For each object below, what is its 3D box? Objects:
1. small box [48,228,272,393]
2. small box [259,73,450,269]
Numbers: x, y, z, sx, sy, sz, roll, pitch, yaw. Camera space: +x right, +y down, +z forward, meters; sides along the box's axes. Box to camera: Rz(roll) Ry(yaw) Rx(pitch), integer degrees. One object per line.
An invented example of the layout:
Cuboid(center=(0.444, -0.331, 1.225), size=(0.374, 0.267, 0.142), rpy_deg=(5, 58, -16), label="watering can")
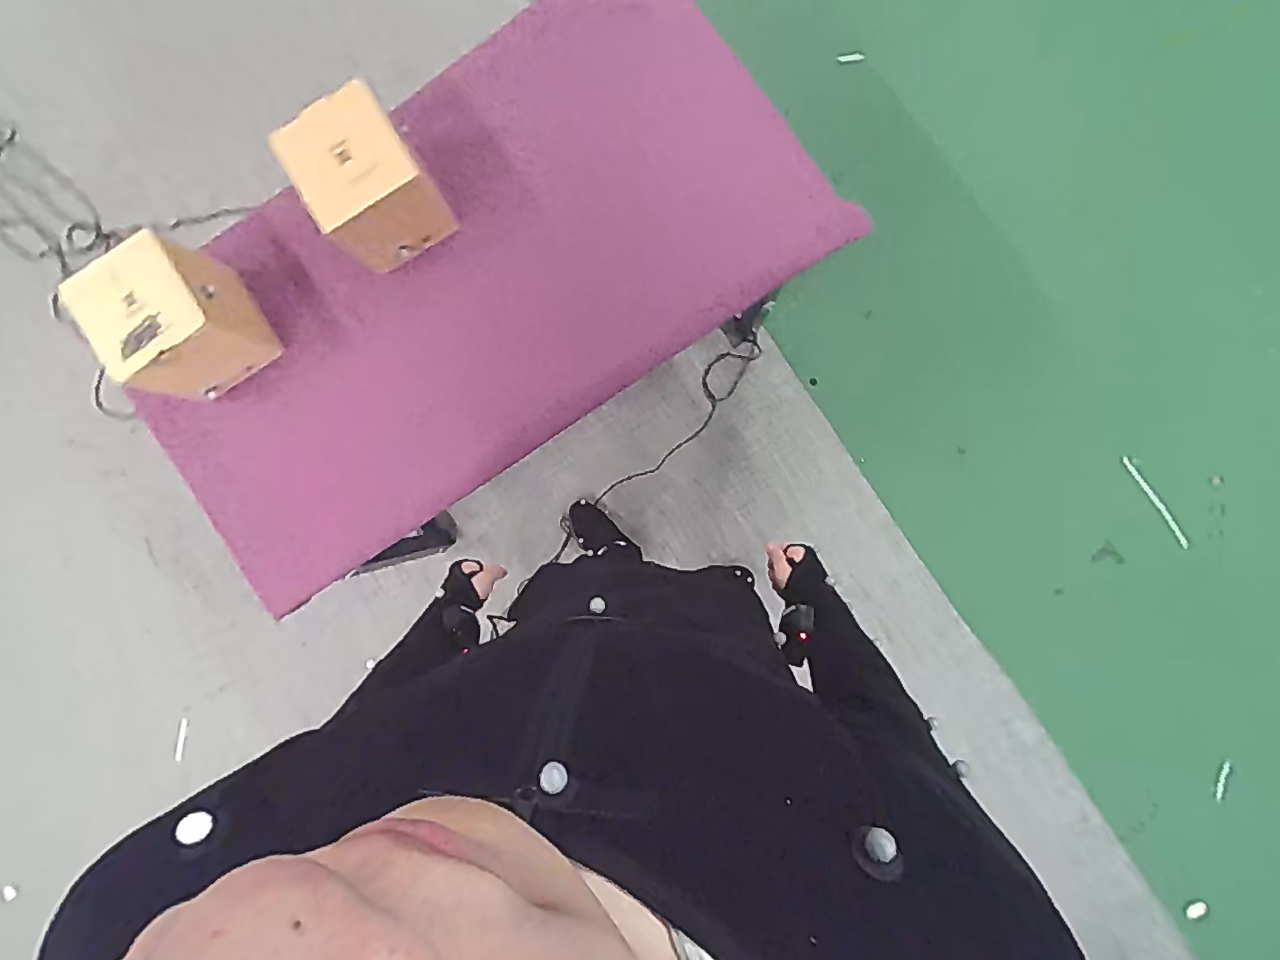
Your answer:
Cuboid(center=(-0.744, -0.253, 0.862), size=(0.168, 0.176, 0.179), rpy_deg=(-33, 90, 1), label="small box")
Cuboid(center=(-0.437, -0.474, 0.858), size=(0.168, 0.176, 0.179), rpy_deg=(-32, 90, 2), label="small box")
